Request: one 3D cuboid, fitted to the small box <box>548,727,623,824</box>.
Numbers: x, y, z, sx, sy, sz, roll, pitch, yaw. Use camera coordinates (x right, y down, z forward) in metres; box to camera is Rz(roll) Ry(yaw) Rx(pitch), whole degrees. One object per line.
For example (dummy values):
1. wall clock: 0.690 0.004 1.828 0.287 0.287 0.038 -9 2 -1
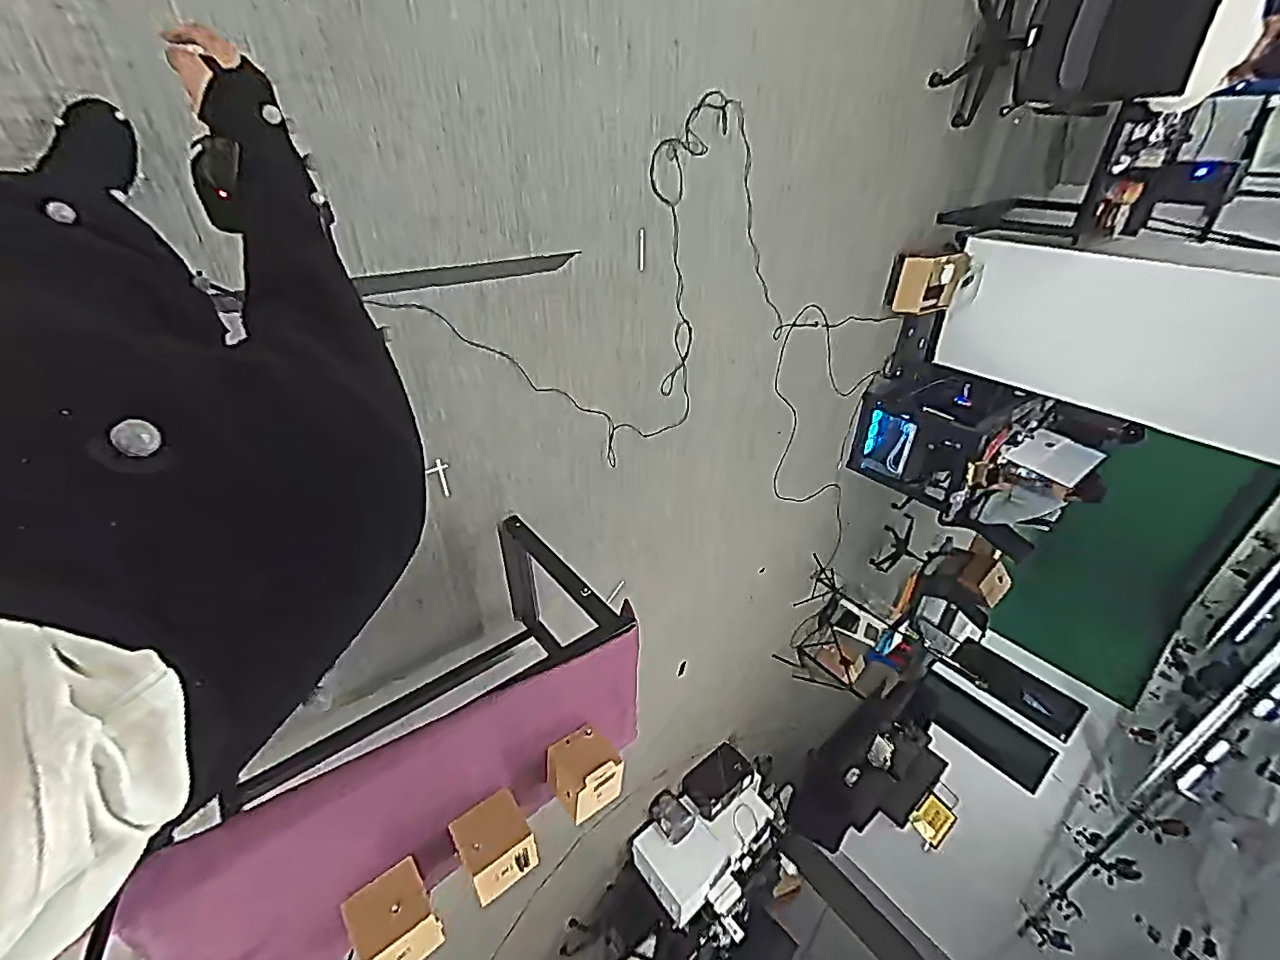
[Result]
1. small box: -0.172 0.894 1.660 0.168 0.176 0.179 -17 126 -35
